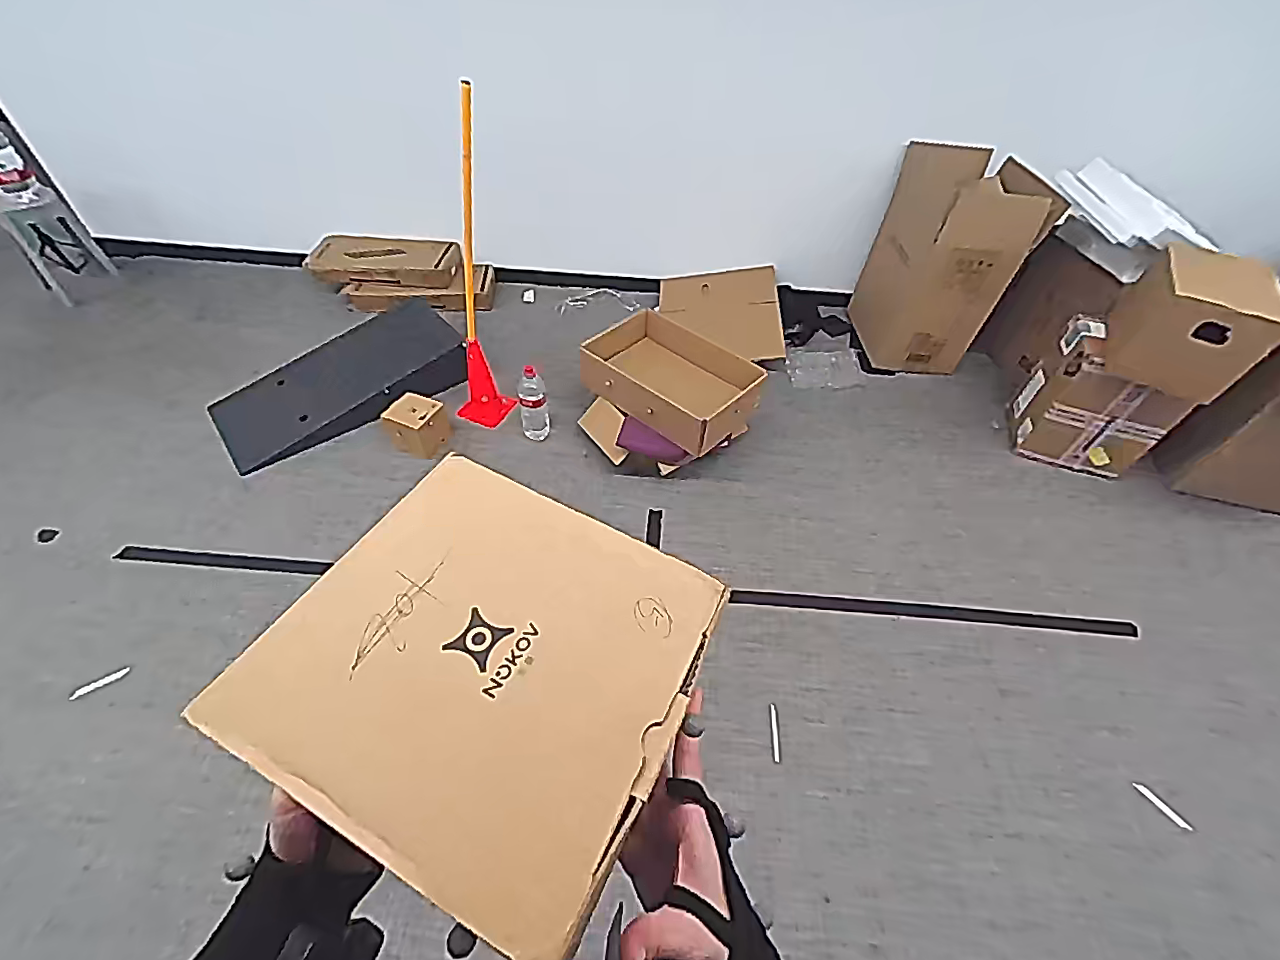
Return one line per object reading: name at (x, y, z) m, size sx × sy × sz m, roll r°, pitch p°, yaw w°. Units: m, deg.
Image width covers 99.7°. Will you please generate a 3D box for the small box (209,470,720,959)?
small box at (-0.075, 0.131, 0.315) m, size 0.179 × 0.176 × 0.168 m, roll 23°, pitch 51°, yaw 15°
